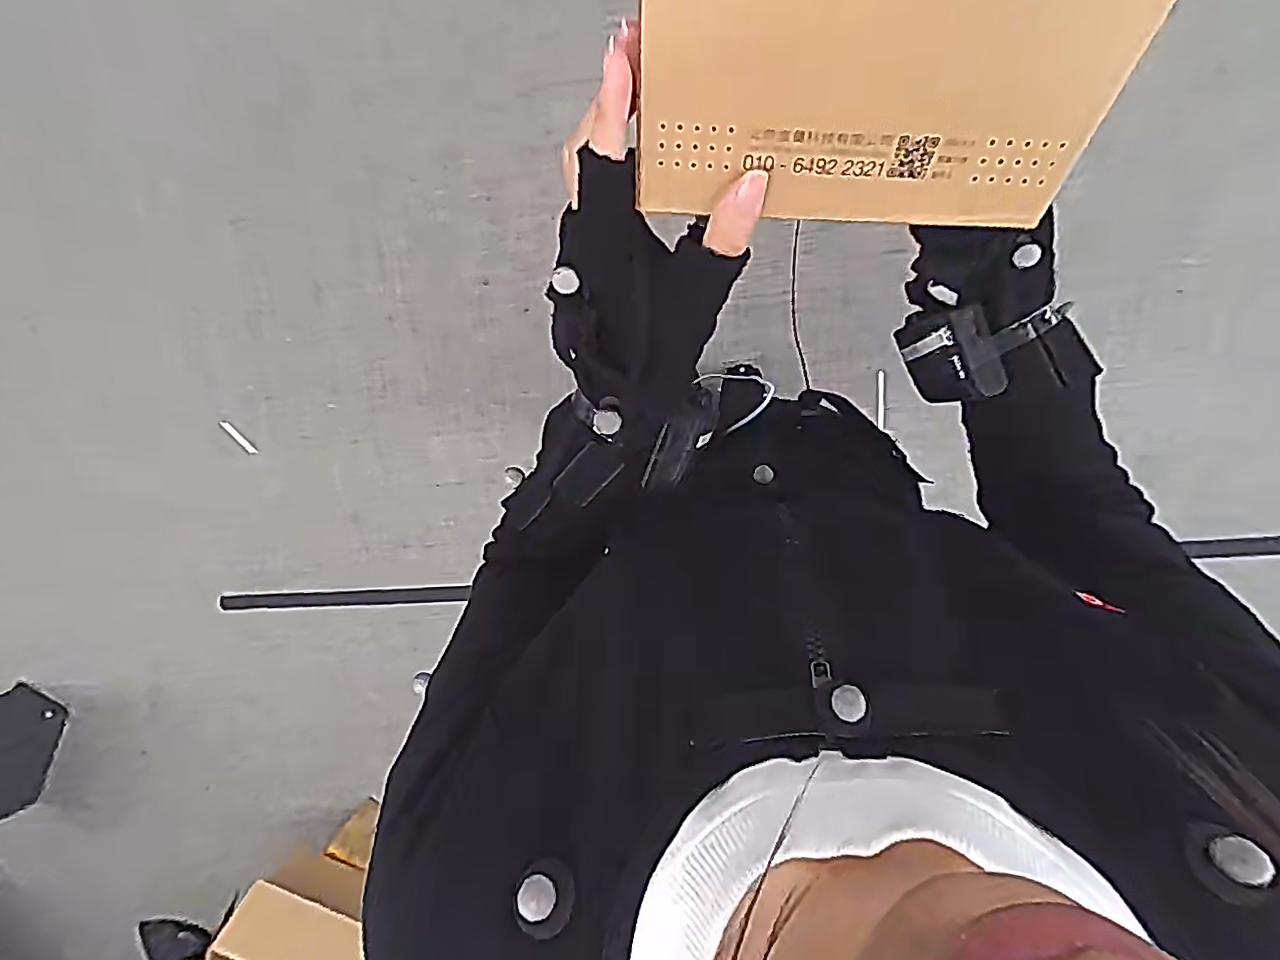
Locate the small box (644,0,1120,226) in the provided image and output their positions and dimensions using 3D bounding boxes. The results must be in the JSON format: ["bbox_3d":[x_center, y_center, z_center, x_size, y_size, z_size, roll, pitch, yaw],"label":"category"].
[{"bbox_3d":[0.089,-0.229,0.229,0.168,0.179,0.176,4,142,1],"label":"small box"}]
